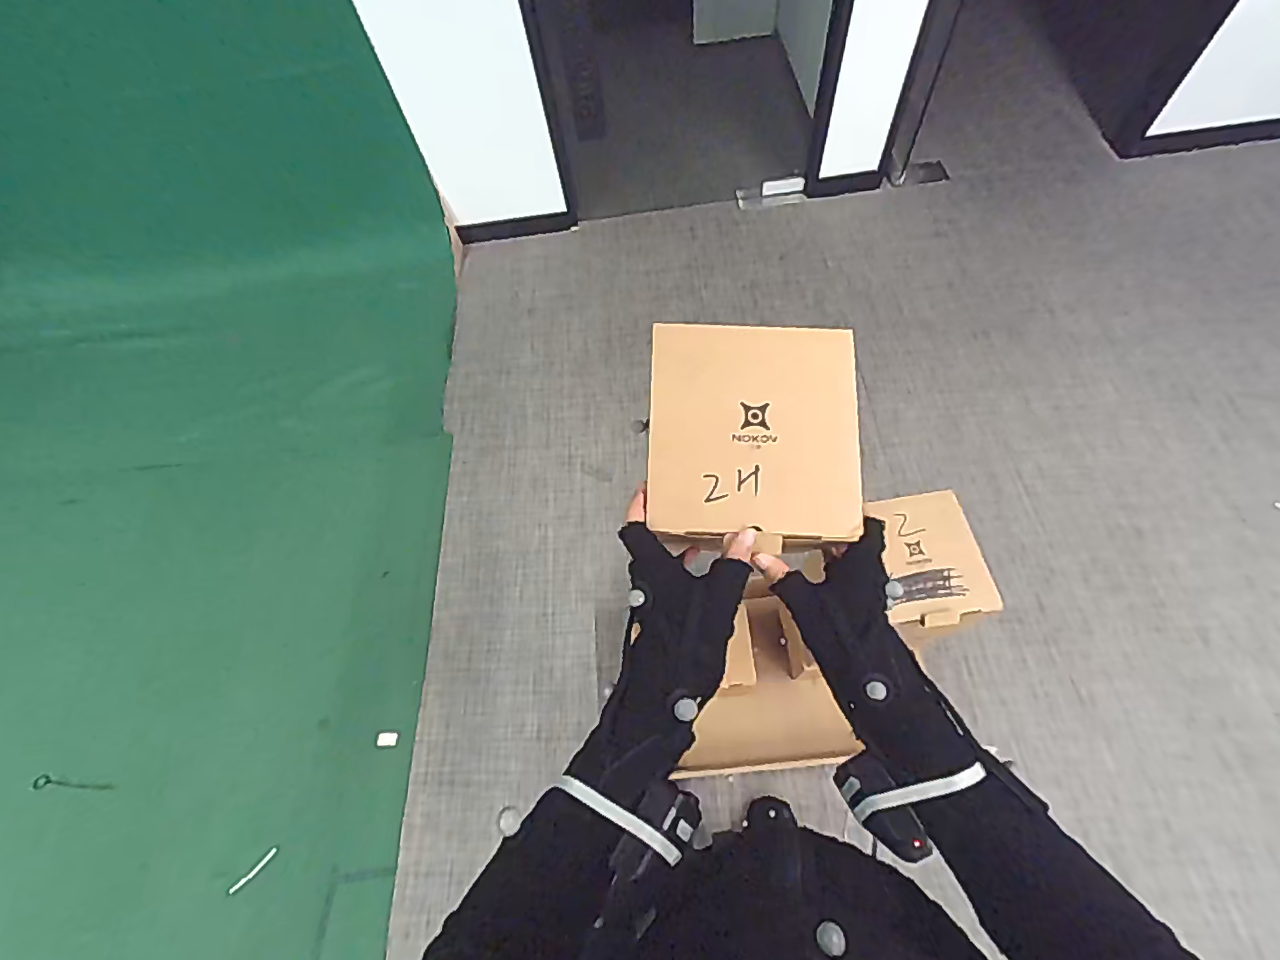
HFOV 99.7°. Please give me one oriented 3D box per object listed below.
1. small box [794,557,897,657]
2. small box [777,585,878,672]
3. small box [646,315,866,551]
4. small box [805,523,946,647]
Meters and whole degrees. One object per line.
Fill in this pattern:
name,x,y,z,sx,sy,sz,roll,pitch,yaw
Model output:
small box,0.417,0.253,1.088,0.168,0.176,0.179,-8,62,3
small box,0.423,0.337,1.249,0.168,0.176,0.179,-12,62,2
small box,0.092,-0.031,0.502,0.168,0.176,0.179,2,79,1
small box,0.401,0.193,0.955,0.168,0.176,0.179,-6,63,3
